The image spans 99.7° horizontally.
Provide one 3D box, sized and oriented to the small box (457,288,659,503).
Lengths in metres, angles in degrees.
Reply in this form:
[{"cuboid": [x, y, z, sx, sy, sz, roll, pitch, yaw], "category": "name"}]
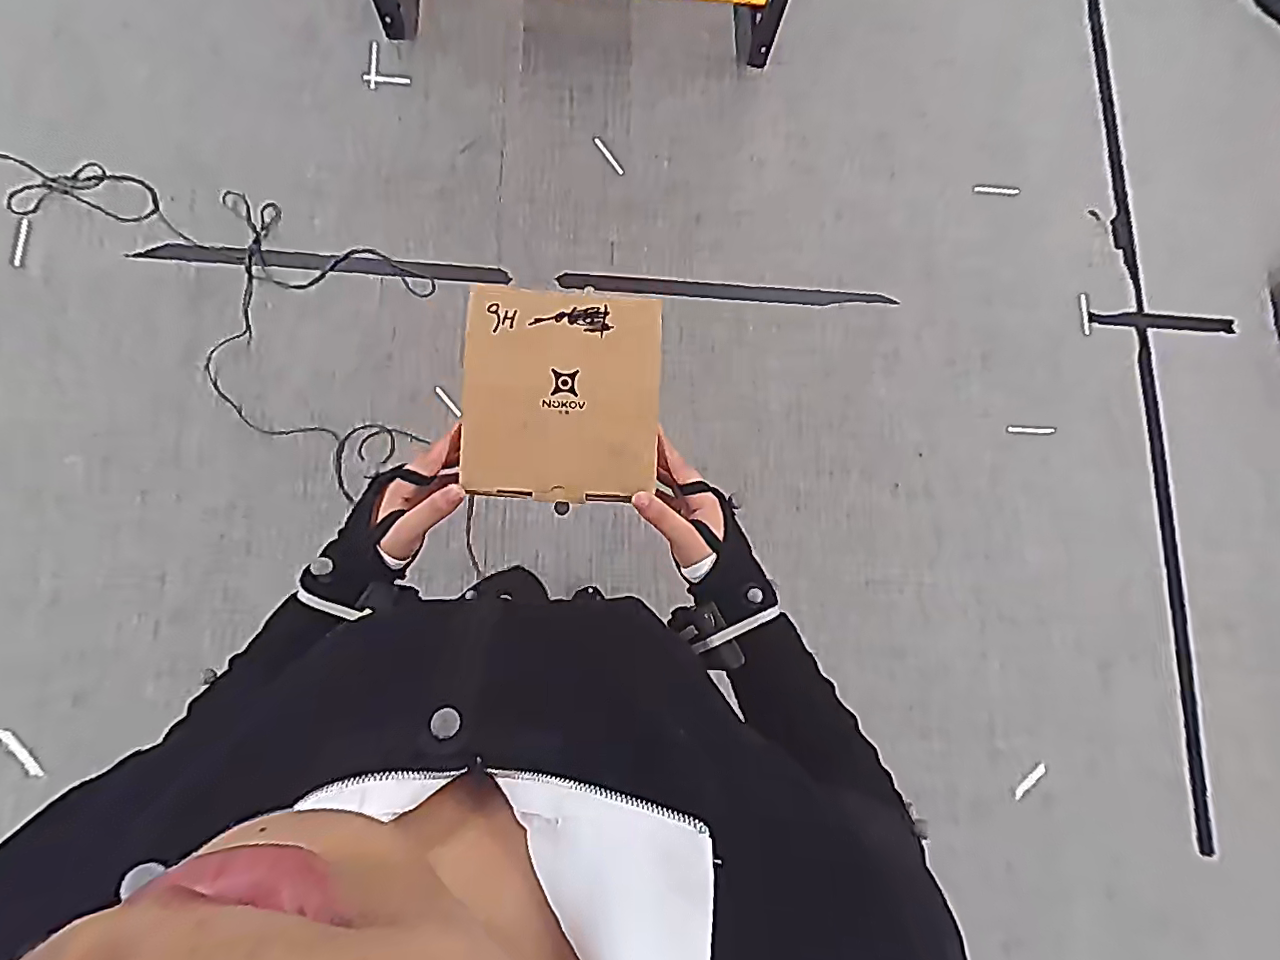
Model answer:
[{"cuboid": [-0.074, -0.069, 0.535, 0.168, 0.176, 0.179, 2, 88, -5], "category": "small box"}]
